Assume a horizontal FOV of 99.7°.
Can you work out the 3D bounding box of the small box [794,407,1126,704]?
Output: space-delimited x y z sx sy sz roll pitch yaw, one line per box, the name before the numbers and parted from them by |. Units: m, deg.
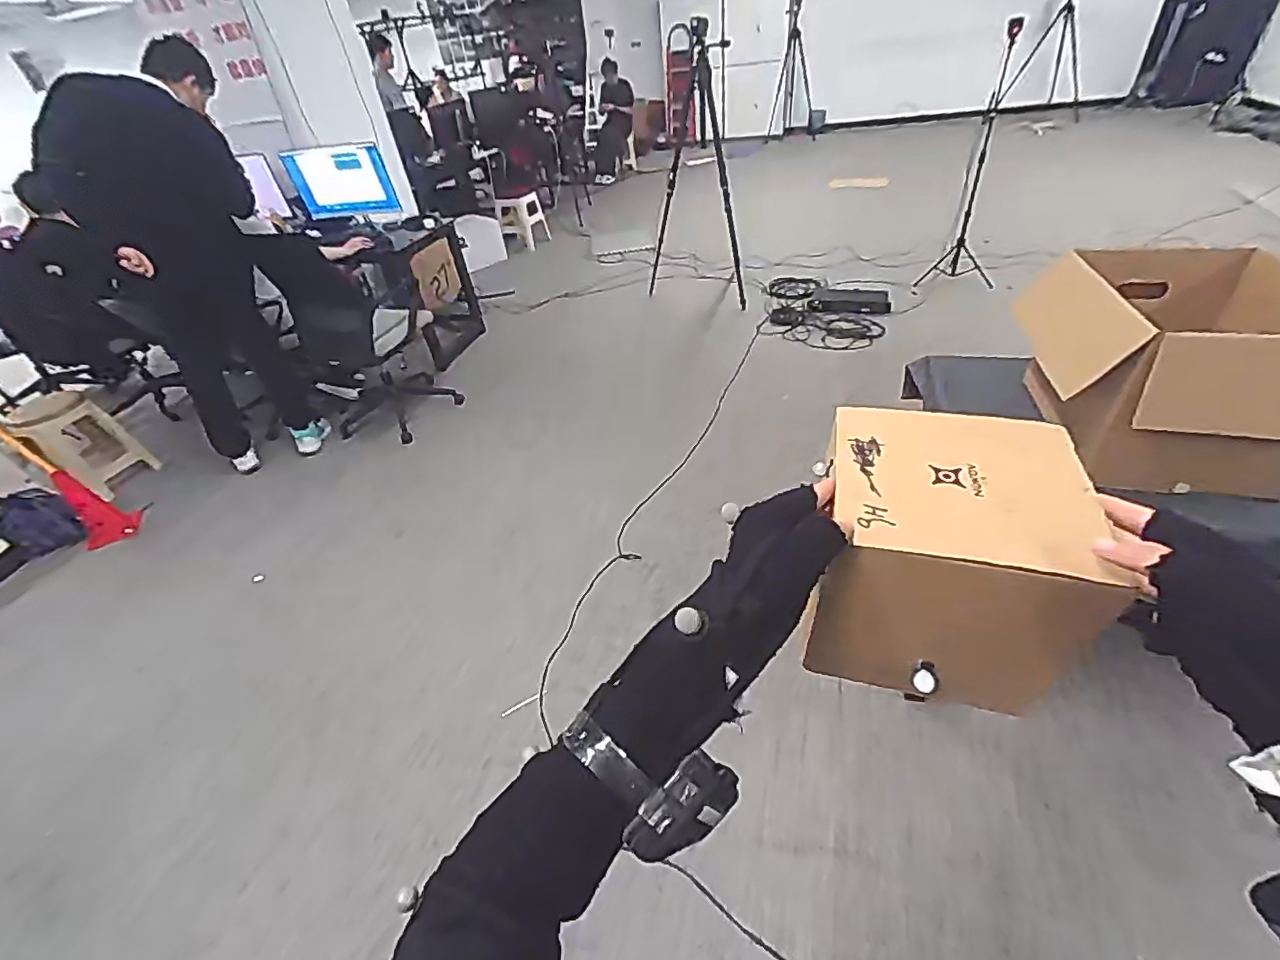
small box | 0.238 0.062 0.456 0.179 0.176 0.168 10 43 14
